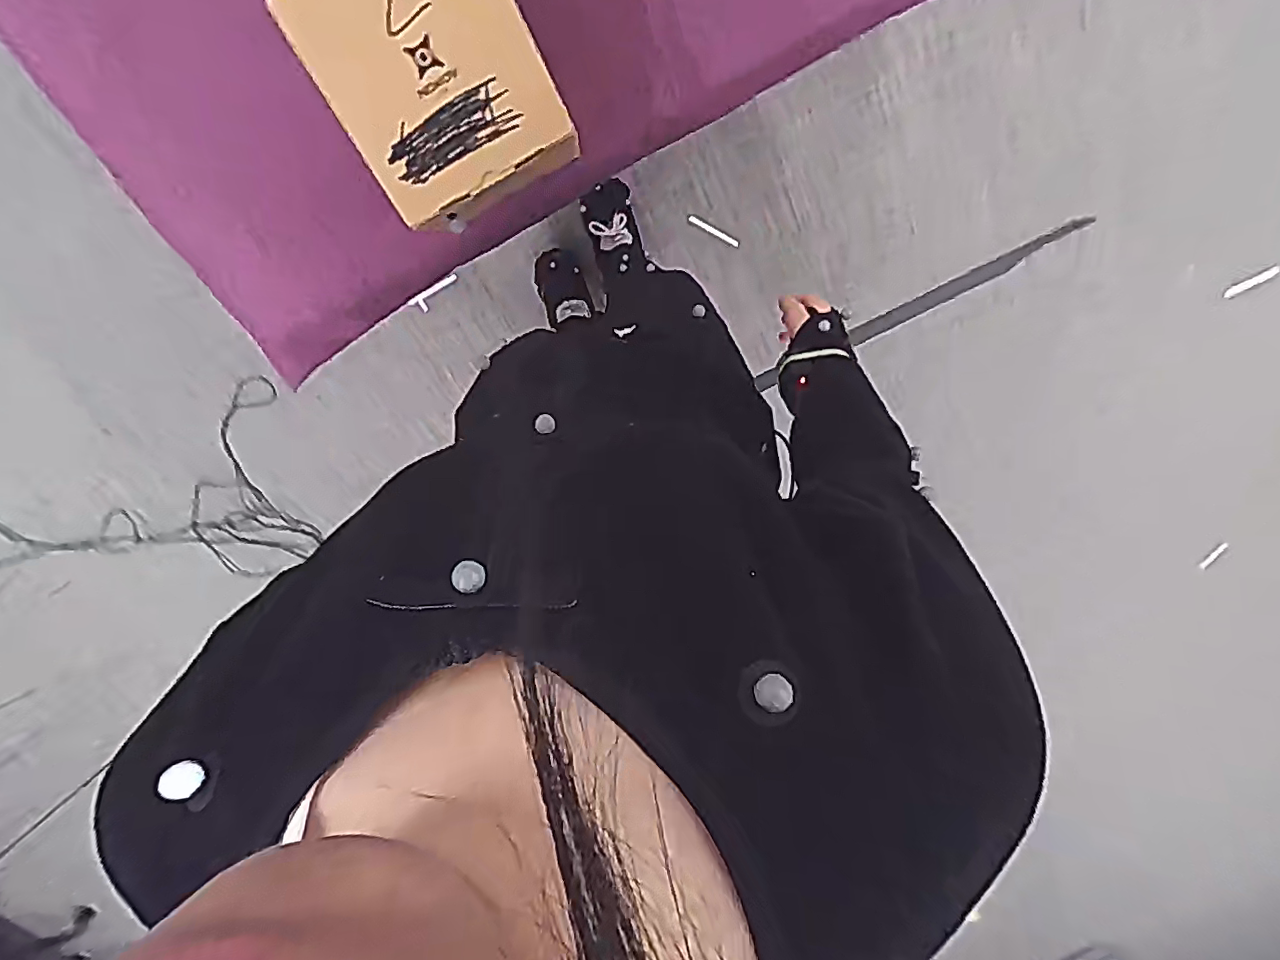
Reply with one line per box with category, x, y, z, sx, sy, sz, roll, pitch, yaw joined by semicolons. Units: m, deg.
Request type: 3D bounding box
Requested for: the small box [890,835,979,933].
small box;0.922;1.266;1.700;0.168;0.176;0.179;-27;113;7
